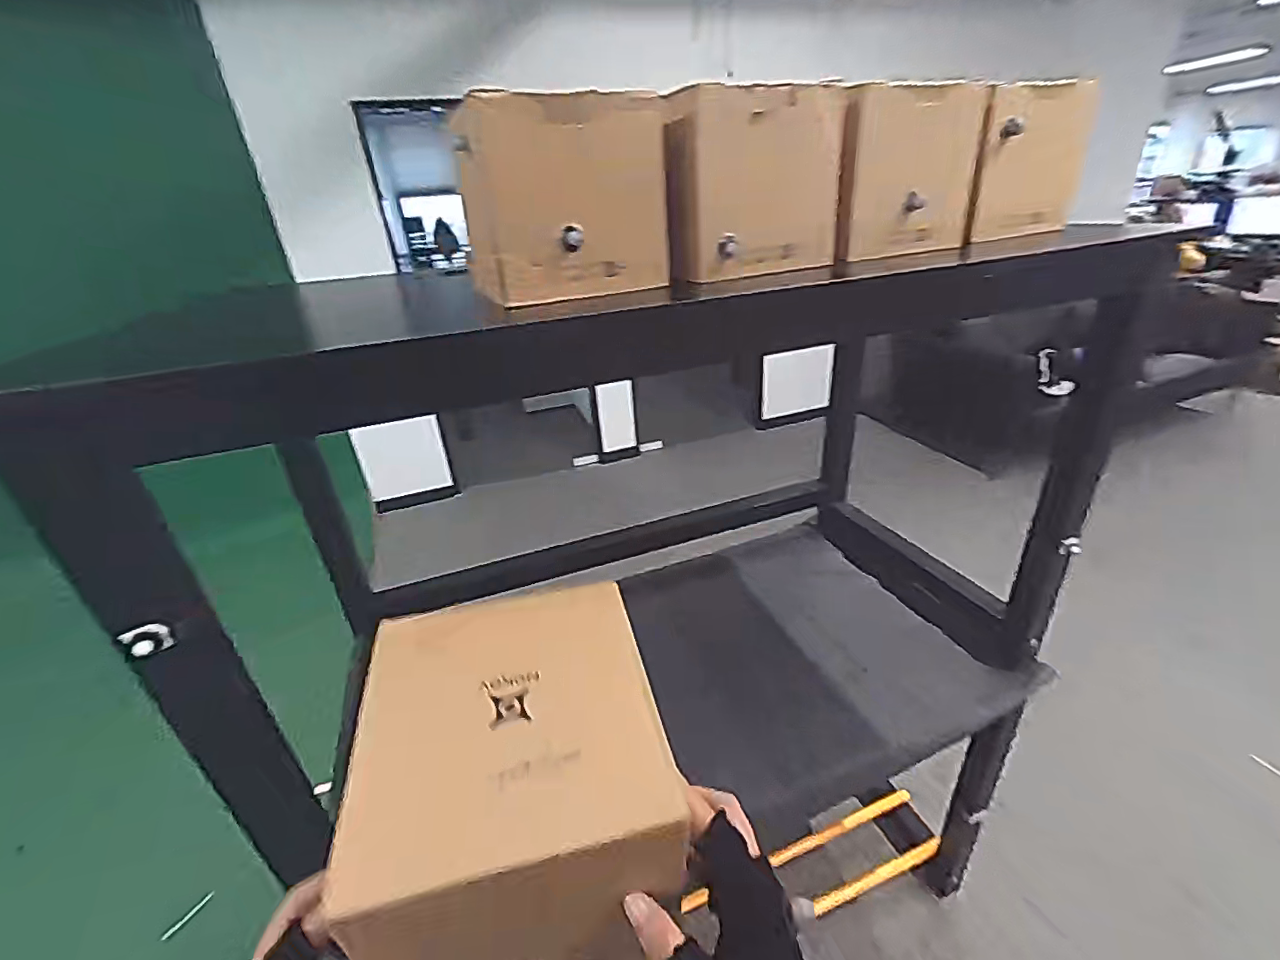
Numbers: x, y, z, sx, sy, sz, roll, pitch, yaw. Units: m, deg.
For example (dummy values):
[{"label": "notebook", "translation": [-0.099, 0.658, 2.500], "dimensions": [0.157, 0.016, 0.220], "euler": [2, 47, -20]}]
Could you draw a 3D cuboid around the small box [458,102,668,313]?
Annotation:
[{"label": "small box", "translation": [-0.081, -0.274, 0.559], "dimensions": [0.168, 0.176, 0.179], "euler": [-15, 29, -19]}]
